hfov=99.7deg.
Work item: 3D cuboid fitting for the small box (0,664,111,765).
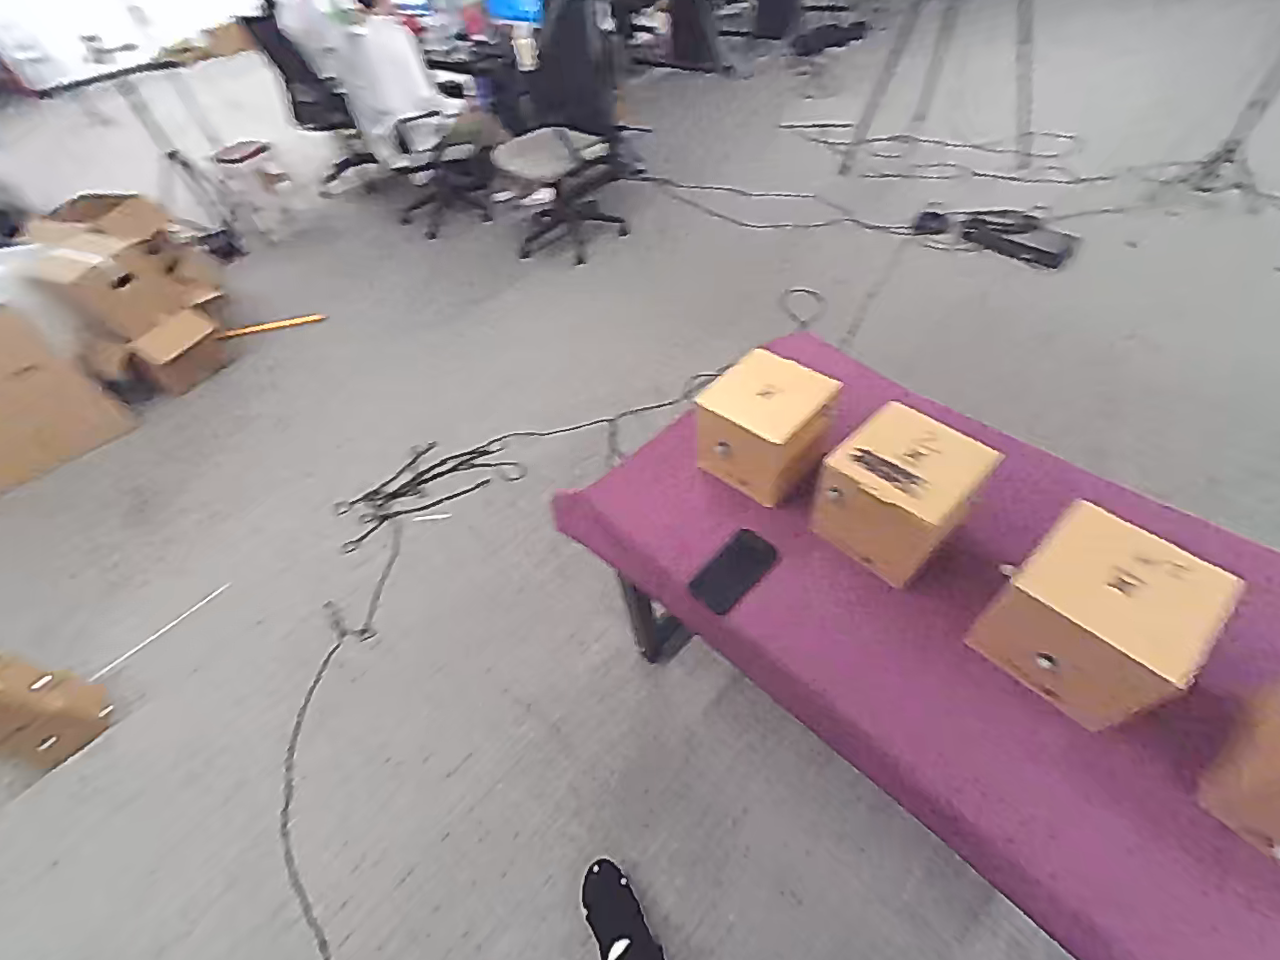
[{"bbox_3d":[-1.644,0.659,1.516,0.168,0.176,0.179,34,63,31],"label":"small box"}]

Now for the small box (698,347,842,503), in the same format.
[{"bbox_3d":[0.220,-0.093,0.930,0.168,0.176,0.179,34,61,31],"label":"small box"}]

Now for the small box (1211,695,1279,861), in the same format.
[{"bbox_3d":[0.726,0.303,0.521,0.179,0.176,0.168,-34,53,-19],"label":"small box"}]

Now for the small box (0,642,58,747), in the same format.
[{"bbox_3d":[-1.666,0.558,1.388,0.168,0.176,0.179,-40,55,-22],"label":"small box"}]

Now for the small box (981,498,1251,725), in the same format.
[{"bbox_3d":[0.557,0.163,0.662,0.179,0.176,0.168,-36,55,-21],"label":"small box"}]
